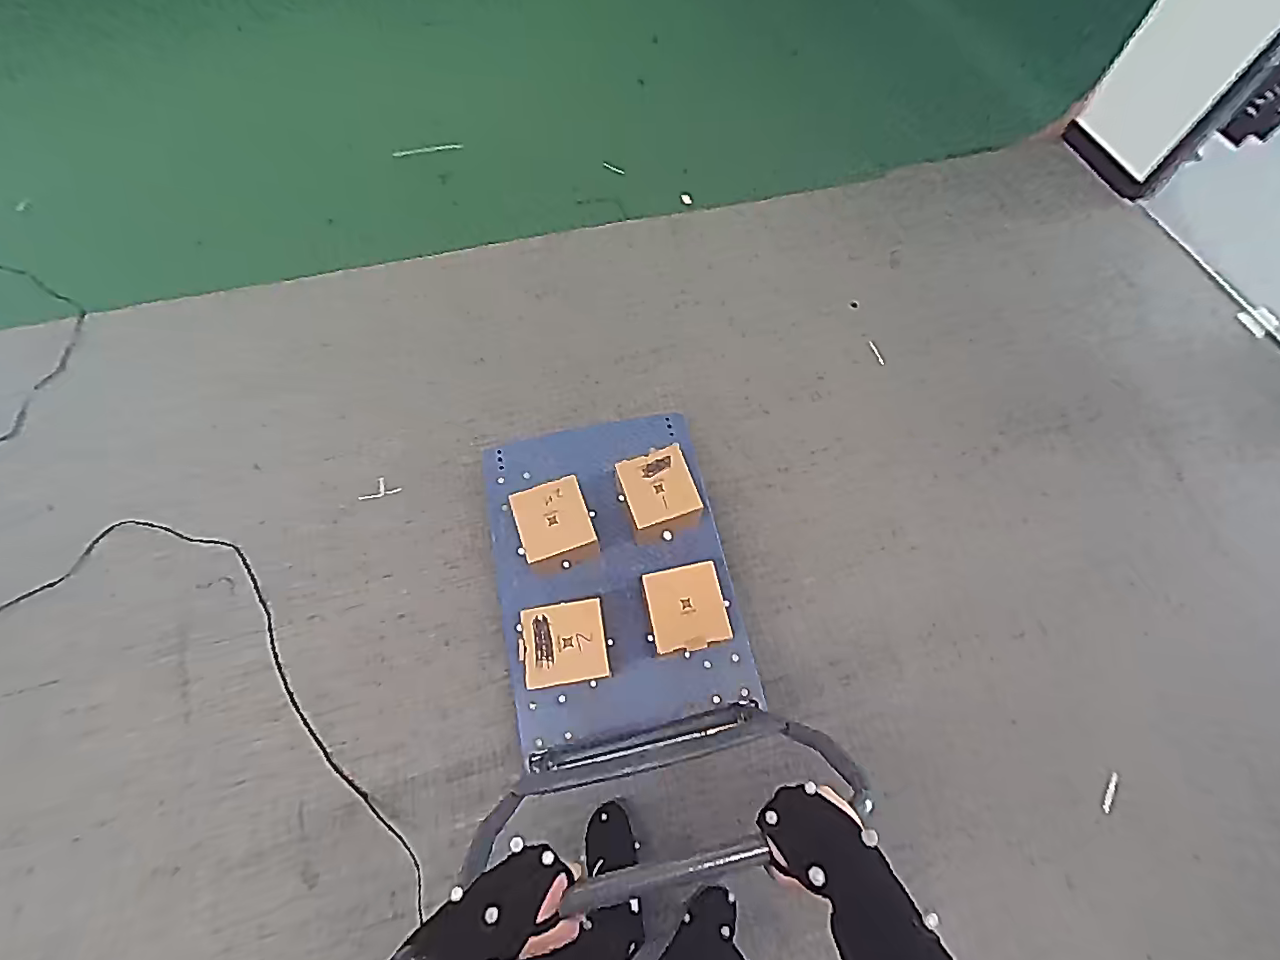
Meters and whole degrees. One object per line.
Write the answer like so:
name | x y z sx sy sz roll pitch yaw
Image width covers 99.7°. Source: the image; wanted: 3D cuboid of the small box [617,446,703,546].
small box | 0.043 0.045 1.361 0.168 0.176 0.179 -18 70 -7

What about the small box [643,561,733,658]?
small box | 0.102 0.306 1.258 0.168 0.176 0.179 -11 69 -5

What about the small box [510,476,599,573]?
small box | -0.204 0.119 1.327 0.168 0.176 0.179 -18 70 -9
